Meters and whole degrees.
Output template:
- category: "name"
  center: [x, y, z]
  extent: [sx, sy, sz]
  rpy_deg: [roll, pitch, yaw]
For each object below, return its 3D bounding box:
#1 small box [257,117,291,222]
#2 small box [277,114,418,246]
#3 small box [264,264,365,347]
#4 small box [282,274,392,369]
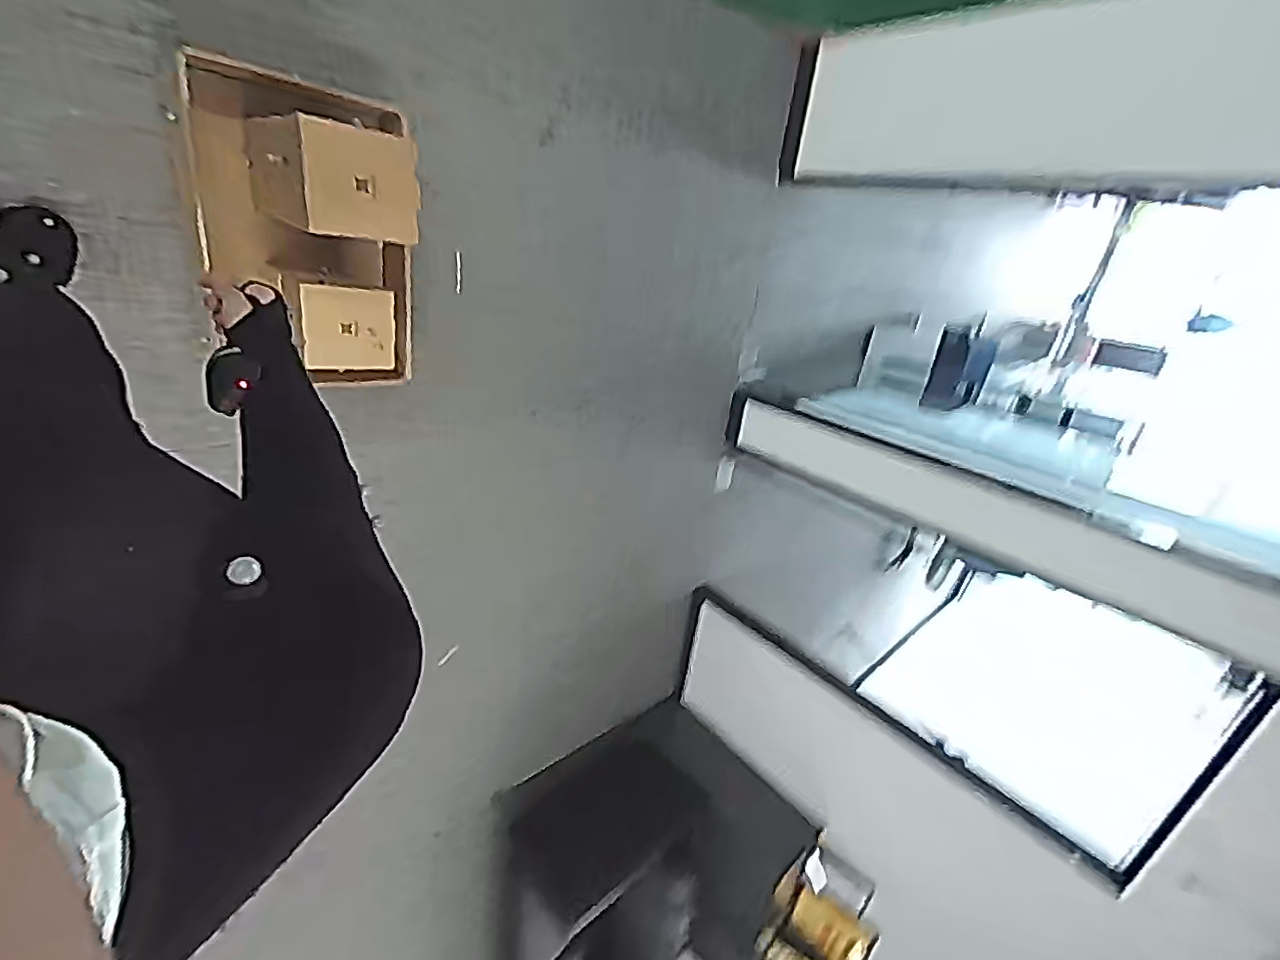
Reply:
- category: "small box"
  center: [-0.613, -0.584, 1.046]
  extent: [0.179, 0.176, 0.168]
  rpy_deg: [-12, 121, -41]
- category: "small box"
  center: [-0.507, -0.517, 0.941]
  extent: [0.179, 0.176, 0.168]
  rpy_deg: [-11, 121, -40]
- category: "small box"
  center: [-0.761, -0.404, 1.263]
  extent: [0.179, 0.176, 0.168]
  rpy_deg: [-10, 119, -42]
- category: "small box"
  center: [-0.651, -0.340, 1.158]
  extent: [0.179, 0.176, 0.168]
  rpy_deg: [-10, 119, -42]
